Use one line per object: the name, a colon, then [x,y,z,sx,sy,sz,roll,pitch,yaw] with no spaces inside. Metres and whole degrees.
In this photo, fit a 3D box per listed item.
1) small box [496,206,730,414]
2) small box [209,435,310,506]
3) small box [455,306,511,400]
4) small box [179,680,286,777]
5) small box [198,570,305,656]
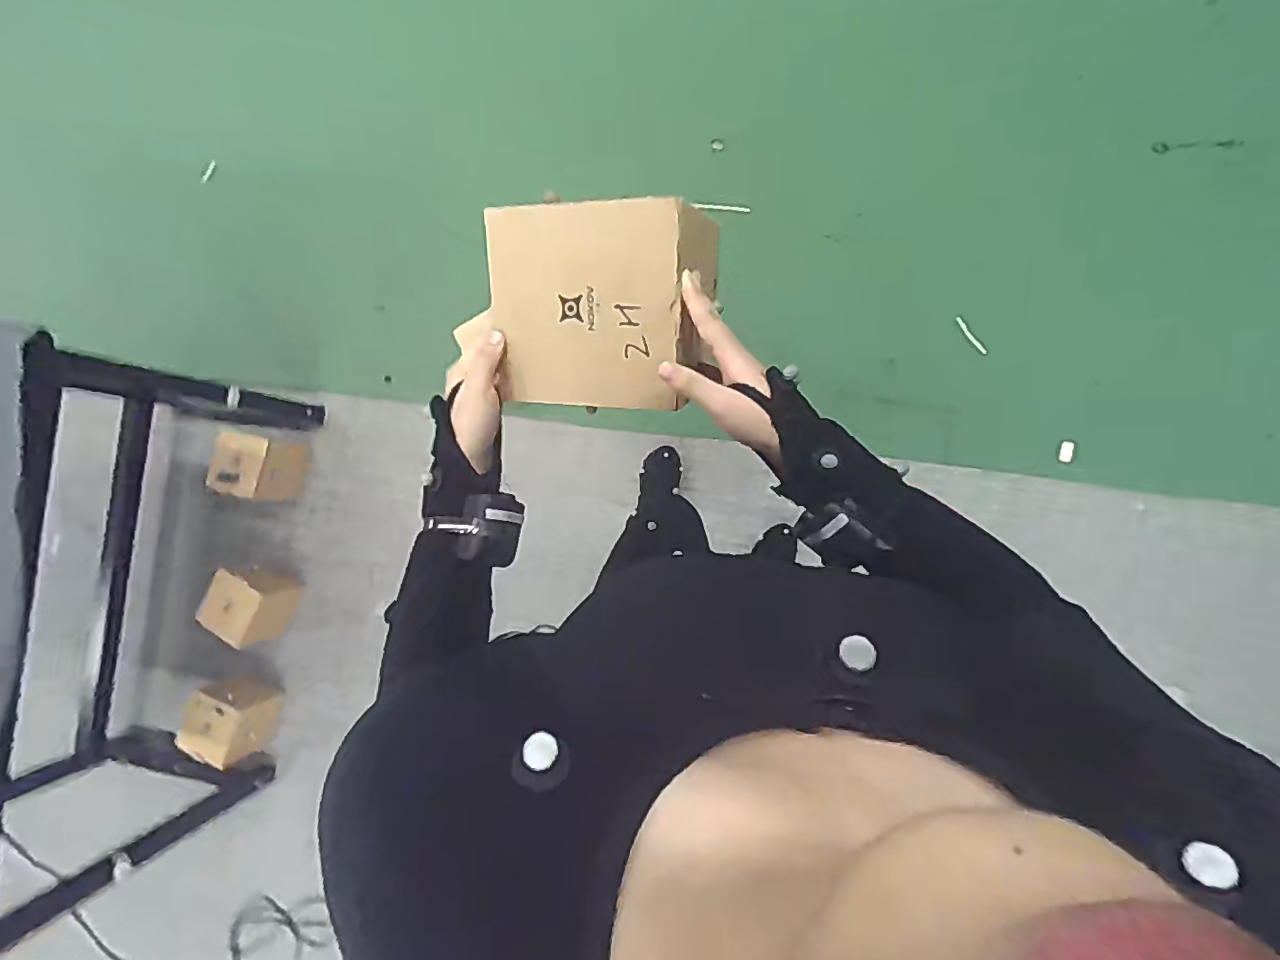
small box: [-0.017,-0.167,0.537,0.179,0.176,0.168,6,111,18]
small box: [-1.126,-0.024,1.613,0.168,0.176,0.179,12,89,9]
small box: [-0.378,-0.347,1.511,0.168,0.176,0.179,-29,84,7]
small box: [-1.193,0.725,1.596,0.168,0.176,0.179,19,92,9]
small box: [-1.138,0.383,1.600,0.168,0.176,0.179,27,93,10]
